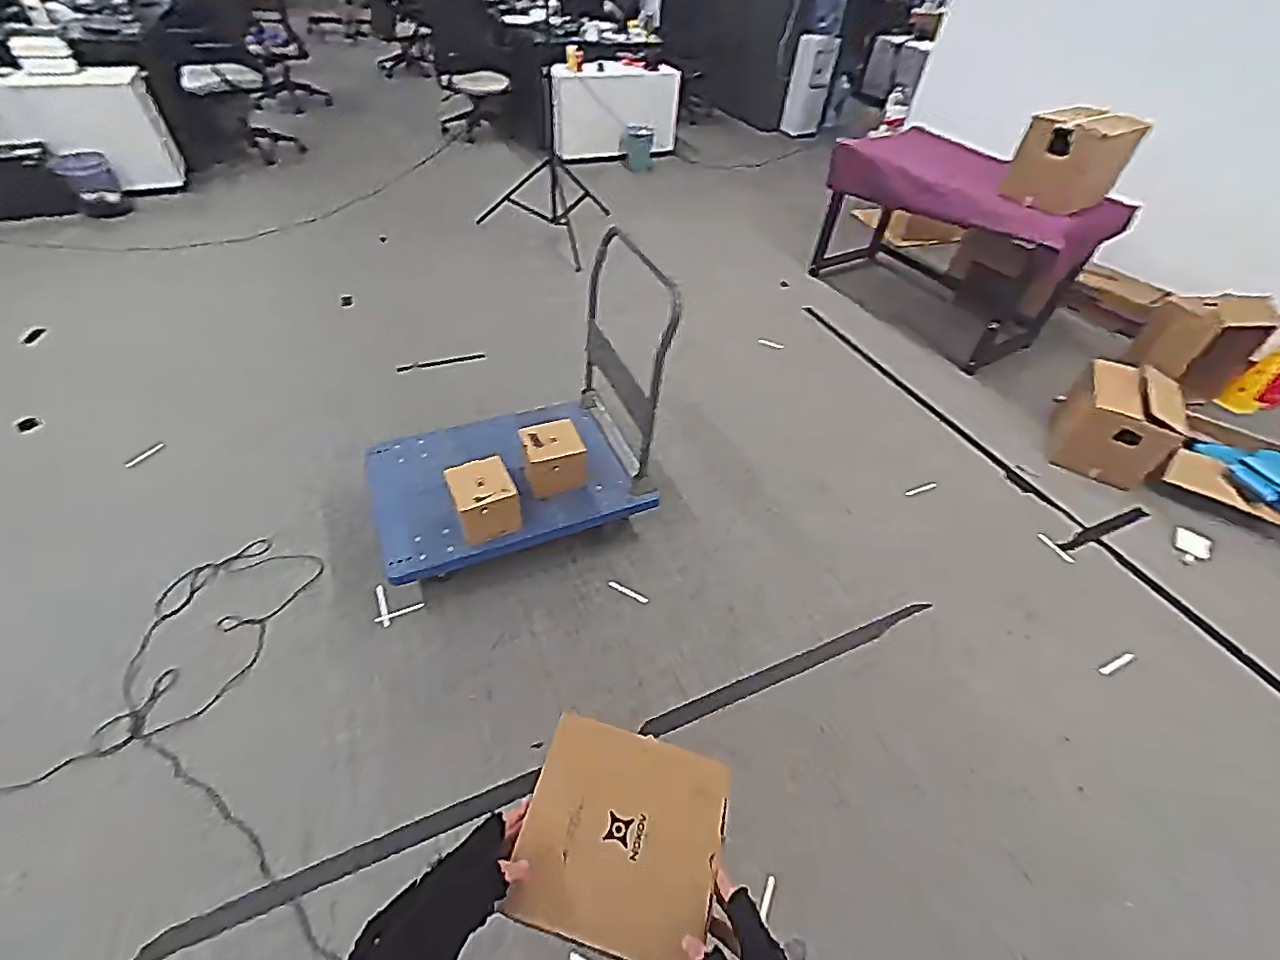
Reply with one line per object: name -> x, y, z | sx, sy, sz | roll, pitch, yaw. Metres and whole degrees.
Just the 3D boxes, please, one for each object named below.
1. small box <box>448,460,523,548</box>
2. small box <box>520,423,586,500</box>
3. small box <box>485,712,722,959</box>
small box -> -0.463, 0.072, 1.624 | 0.168, 0.176, 0.179 | -19, 50, -22
small box -> -0.280, -0.057, 1.765 | 0.179, 0.176, 0.168 | -14, 49, -19
small box -> -0.029, 0.363, 0.538 | 0.179, 0.176, 0.168 | 13, 47, 7
